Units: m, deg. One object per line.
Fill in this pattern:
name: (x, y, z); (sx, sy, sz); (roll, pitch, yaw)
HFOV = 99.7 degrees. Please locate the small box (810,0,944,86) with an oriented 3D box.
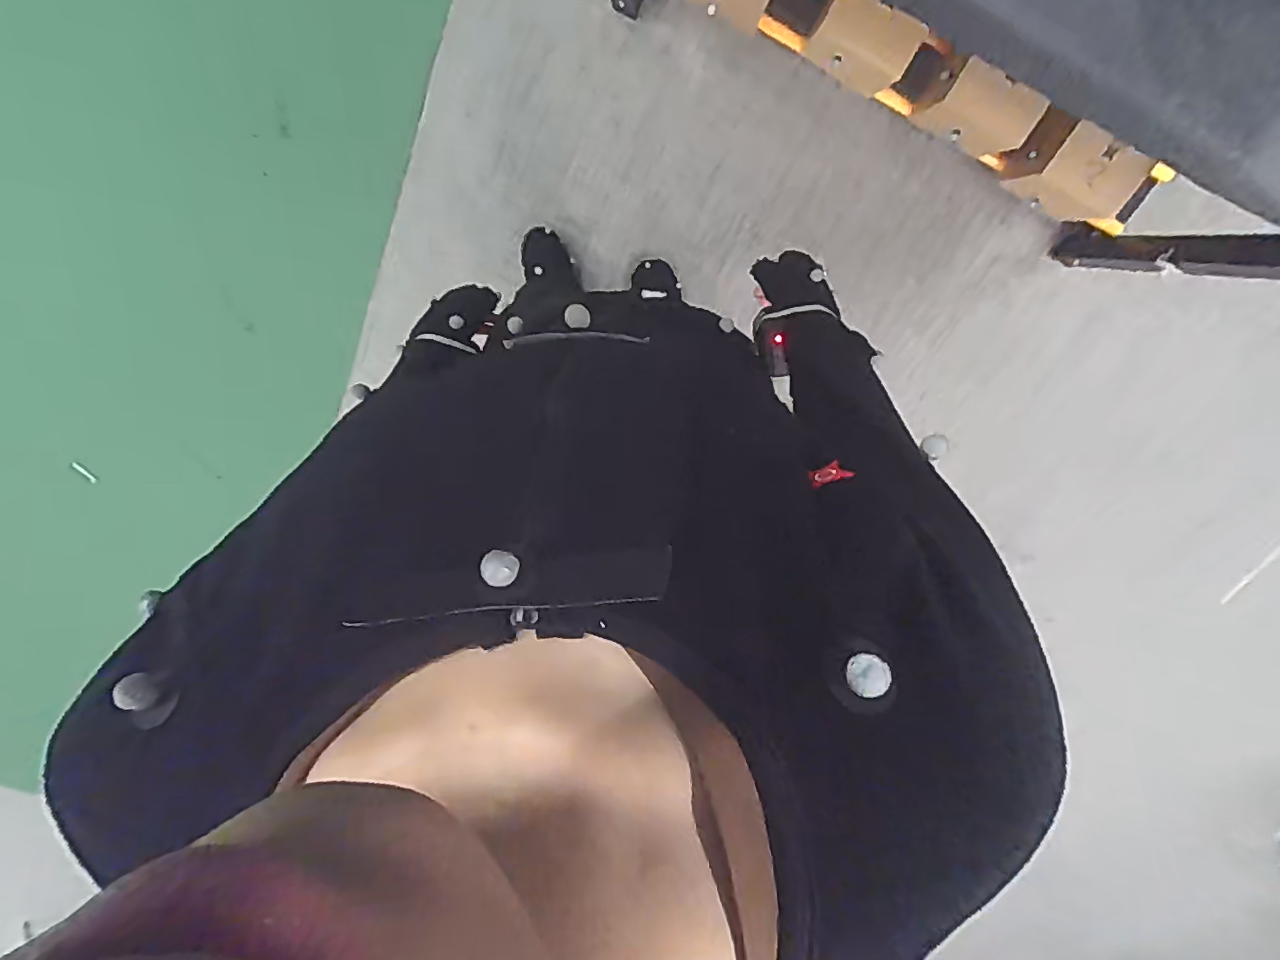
small box: (0.419, -0.834, 0.945); (0.168, 0.176, 0.179); (25, 114, -8)

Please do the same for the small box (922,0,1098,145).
small box: (0.642, -0.736, 0.972); (0.168, 0.176, 0.179); (25, 114, -6)
